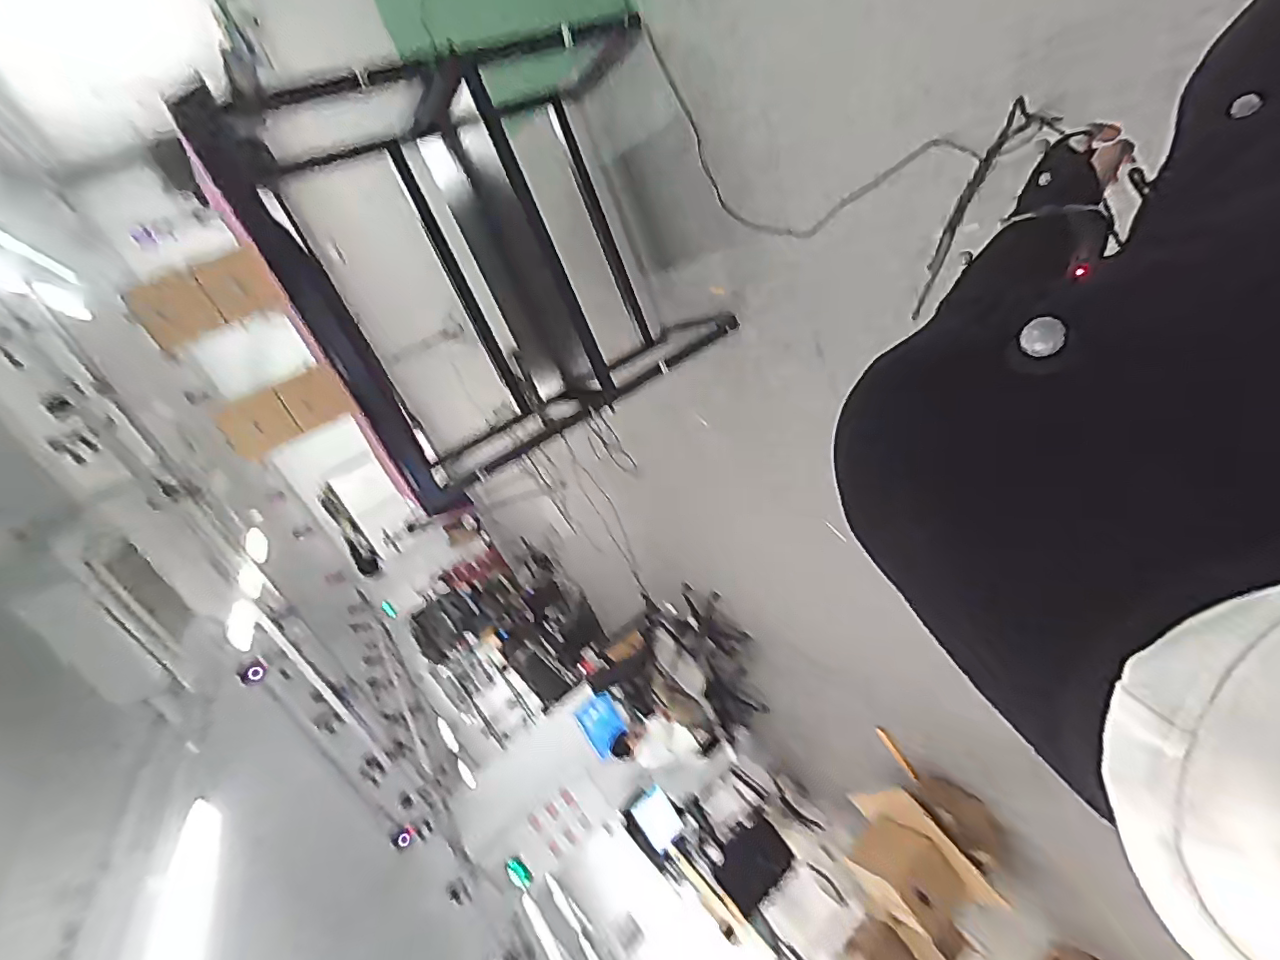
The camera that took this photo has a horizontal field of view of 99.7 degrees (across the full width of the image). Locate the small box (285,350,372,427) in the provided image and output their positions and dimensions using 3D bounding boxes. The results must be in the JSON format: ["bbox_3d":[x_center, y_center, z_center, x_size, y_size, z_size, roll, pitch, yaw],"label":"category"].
[{"bbox_3d":[-0.953,-0.284,1.662,0.168,0.176,0.179,18,136,56],"label":"small box"}]

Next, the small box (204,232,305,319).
[{"bbox_3d":[-1.085,-0.578,1.538,0.168,0.176,0.179,19,138,55],"label":"small box"}]

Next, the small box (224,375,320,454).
[{"bbox_3d":[-1.080,-0.201,1.598,0.168,0.176,0.179,19,138,56],"label":"small box"}]

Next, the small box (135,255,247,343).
[{"bbox_3d":[-1.210,-0.491,1.478,0.168,0.176,0.179,21,138,54],"label":"small box"}]
